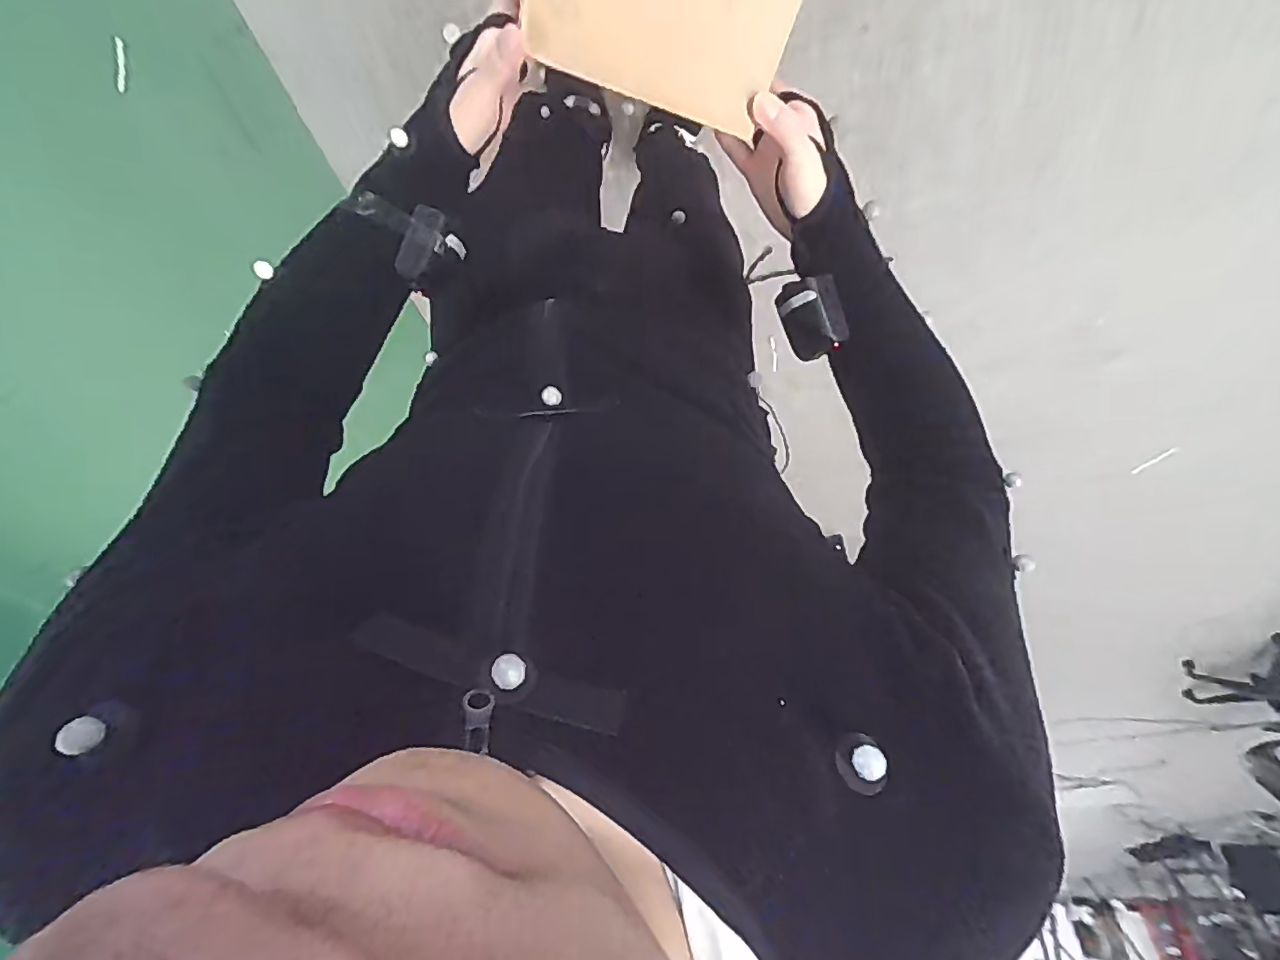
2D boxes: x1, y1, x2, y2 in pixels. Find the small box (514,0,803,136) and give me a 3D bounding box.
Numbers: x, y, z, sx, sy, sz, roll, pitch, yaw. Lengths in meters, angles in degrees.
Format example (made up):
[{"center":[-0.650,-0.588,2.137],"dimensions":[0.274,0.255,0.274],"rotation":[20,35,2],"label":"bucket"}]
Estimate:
[{"center":[0.021,-0.378,0.389],"dimensions":[0.179,0.176,0.168],"rotation":[13,128,-12],"label":"small box"}]
